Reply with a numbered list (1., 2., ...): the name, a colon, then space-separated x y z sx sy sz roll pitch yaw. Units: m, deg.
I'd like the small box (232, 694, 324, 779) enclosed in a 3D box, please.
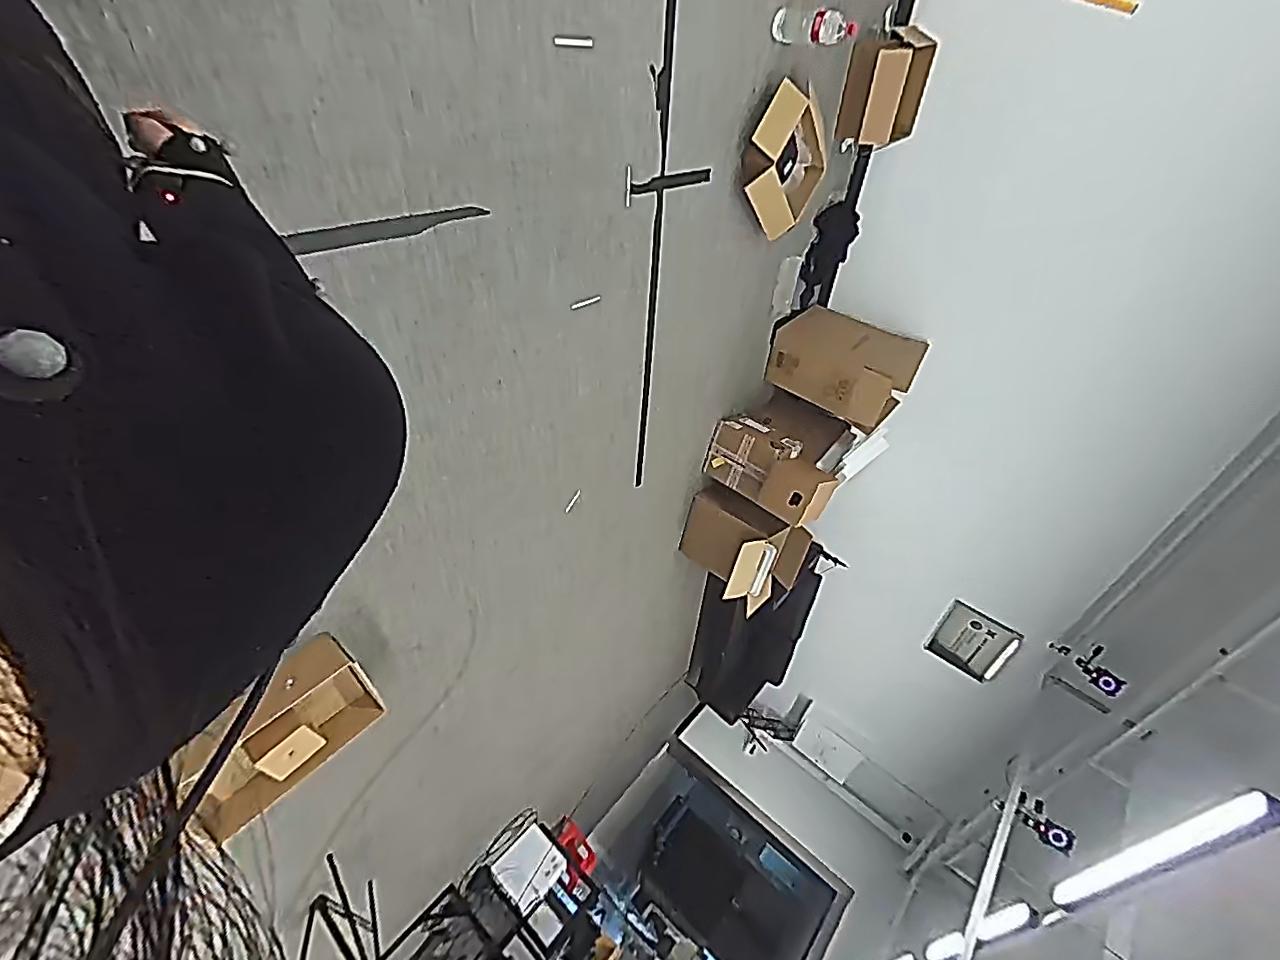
1. small box: -1.216 0.857 1.818 0.168 0.176 0.179 -42 147 -30
